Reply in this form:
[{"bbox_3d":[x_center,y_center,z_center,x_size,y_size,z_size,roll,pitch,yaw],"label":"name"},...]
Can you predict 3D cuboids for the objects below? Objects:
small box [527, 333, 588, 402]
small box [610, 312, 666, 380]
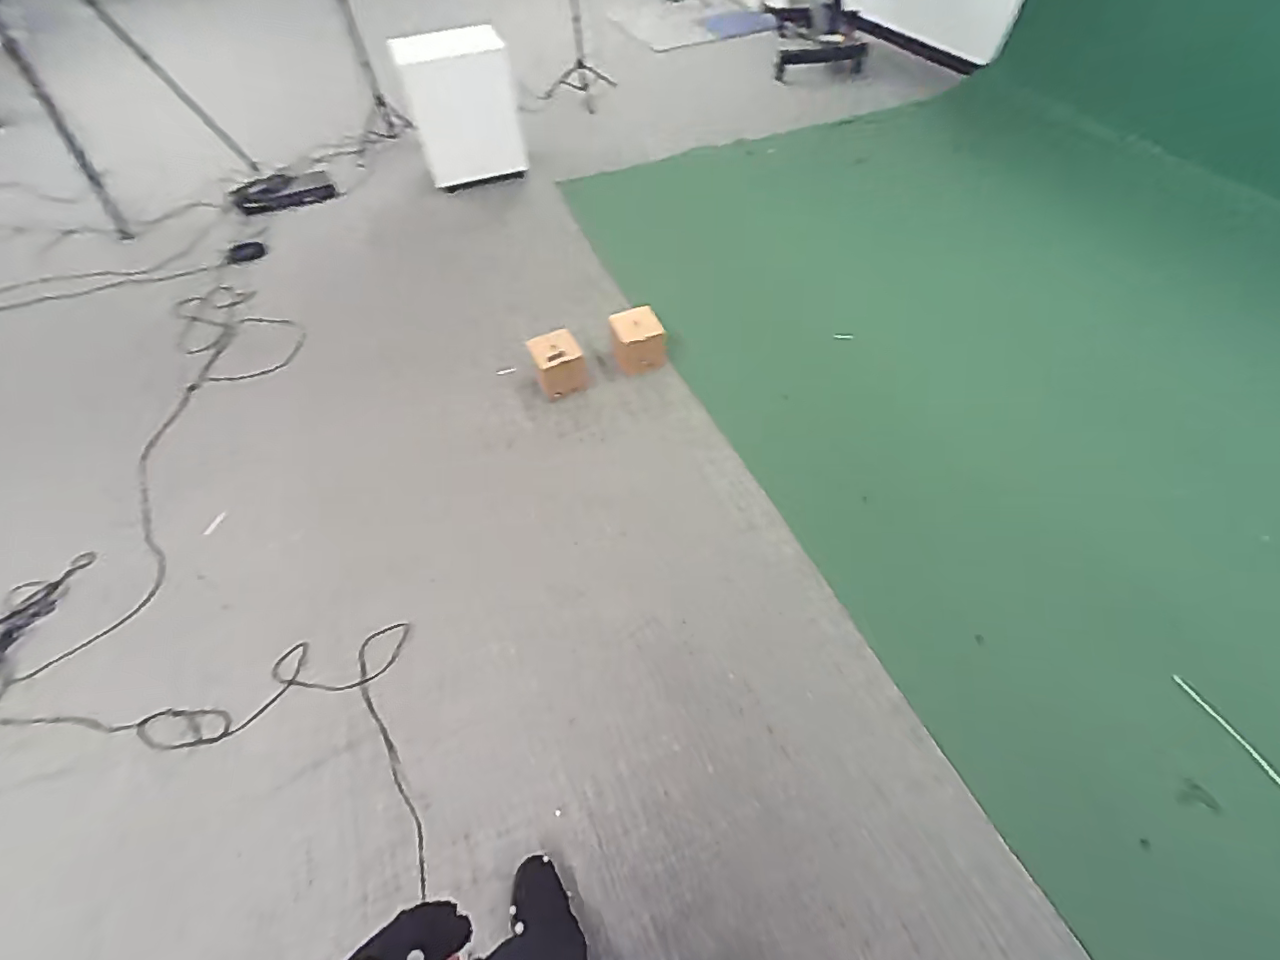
[{"bbox_3d":[-0.307,-0.416,2.039,0.168,0.176,0.179,-23,56,-15],"label":"small box"},{"bbox_3d":[-0.009,-0.522,2.111,0.168,0.176,0.179,-19,56,-11],"label":"small box"}]
